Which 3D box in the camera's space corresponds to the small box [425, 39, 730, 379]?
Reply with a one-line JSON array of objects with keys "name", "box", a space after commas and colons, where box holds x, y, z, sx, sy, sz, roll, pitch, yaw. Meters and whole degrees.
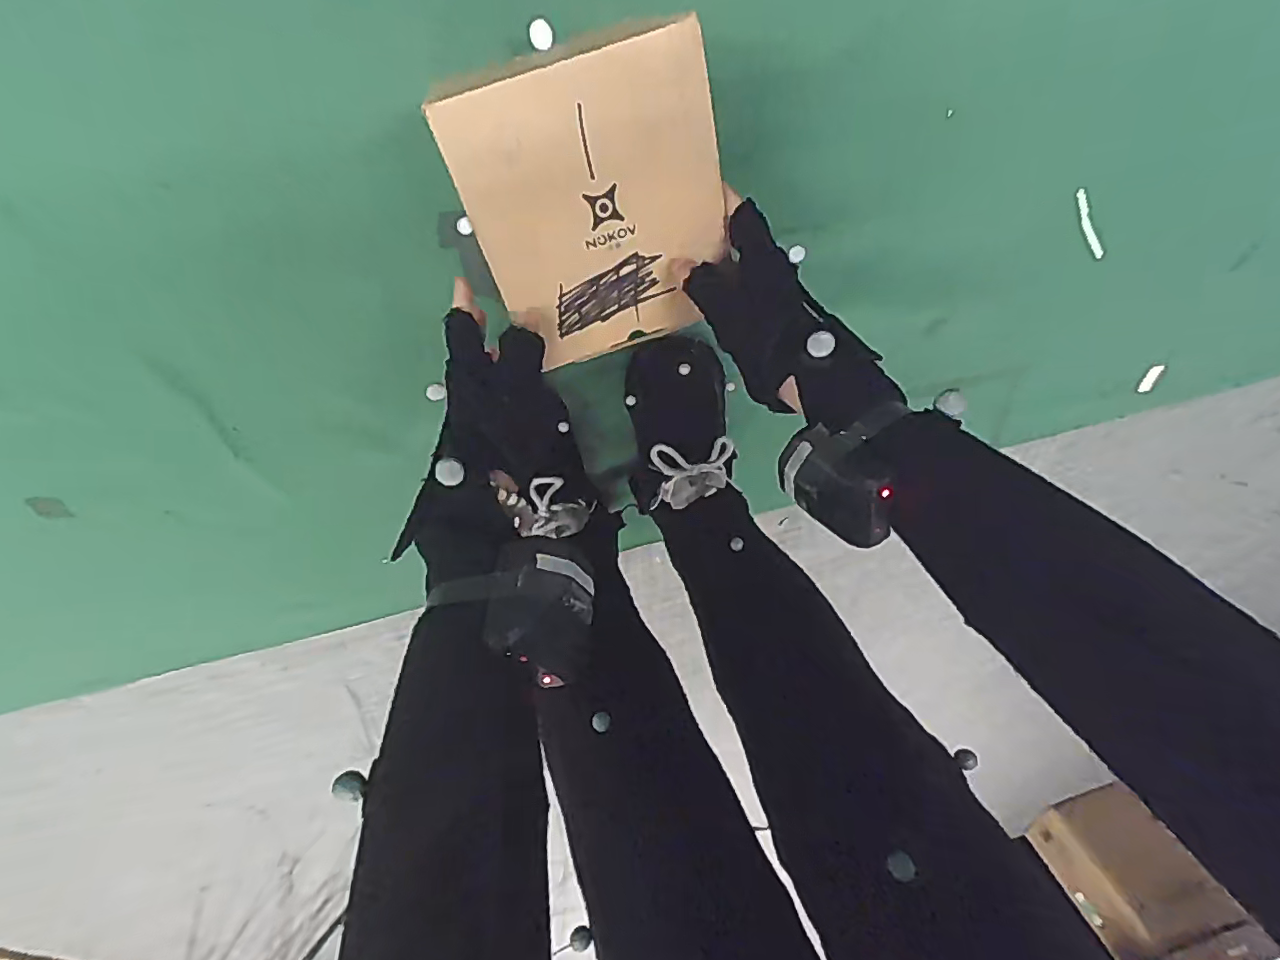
[{"name": "small box", "box": [-0.045, -0.212, 0.419, 0.168, 0.176, 0.179, -20, 130, -3]}]
